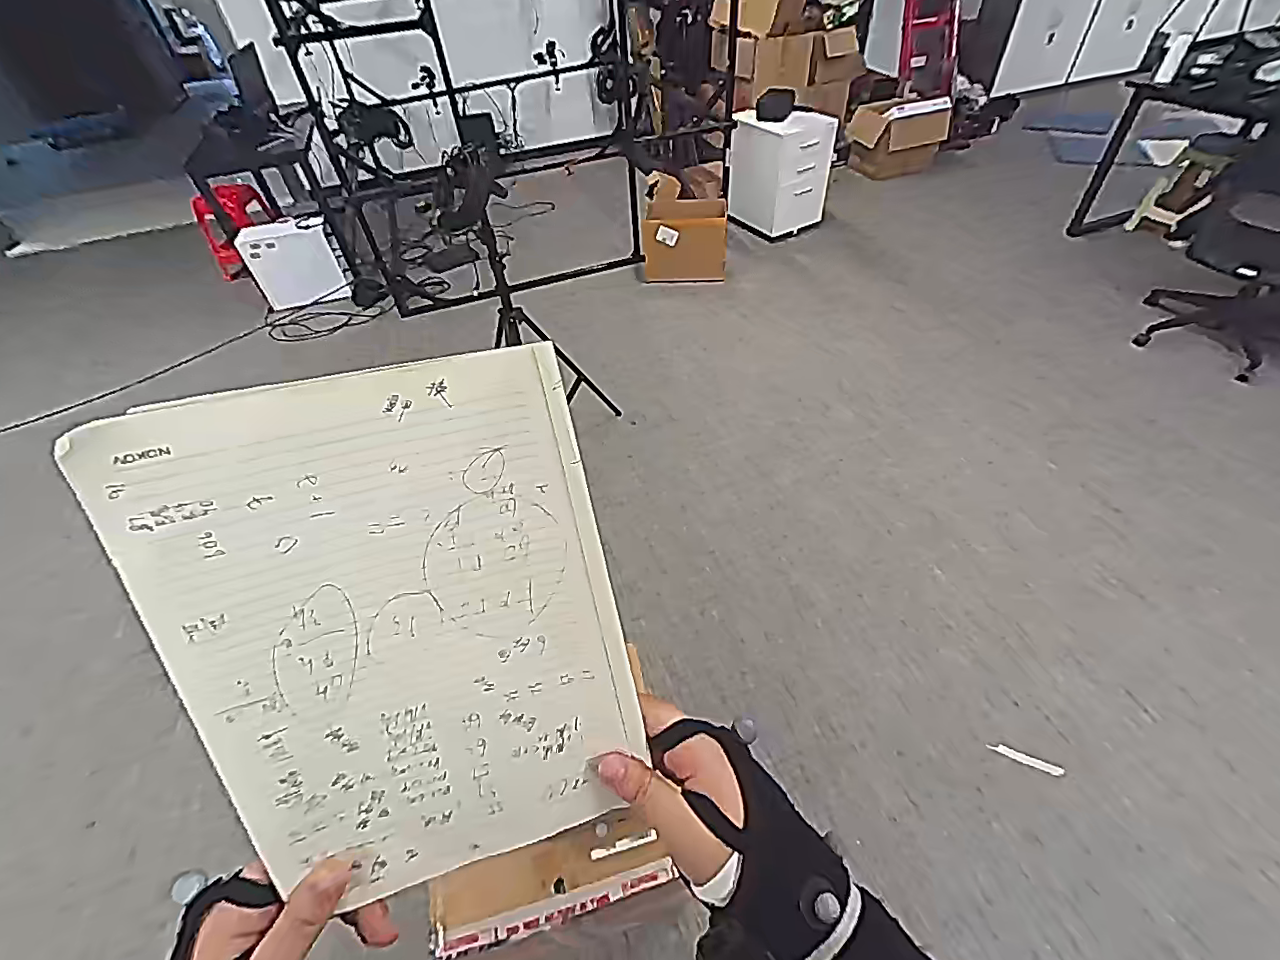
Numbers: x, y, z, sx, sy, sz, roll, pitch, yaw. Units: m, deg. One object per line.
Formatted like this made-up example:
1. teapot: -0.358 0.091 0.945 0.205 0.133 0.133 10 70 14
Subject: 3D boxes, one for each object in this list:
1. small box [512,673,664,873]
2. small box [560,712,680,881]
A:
1. small box: -0.070 0.386 0.714 0.168 0.176 0.179 -10 49 -8
2. small box: -0.048 0.492 0.840 0.179 0.176 0.168 -14 48 -10
